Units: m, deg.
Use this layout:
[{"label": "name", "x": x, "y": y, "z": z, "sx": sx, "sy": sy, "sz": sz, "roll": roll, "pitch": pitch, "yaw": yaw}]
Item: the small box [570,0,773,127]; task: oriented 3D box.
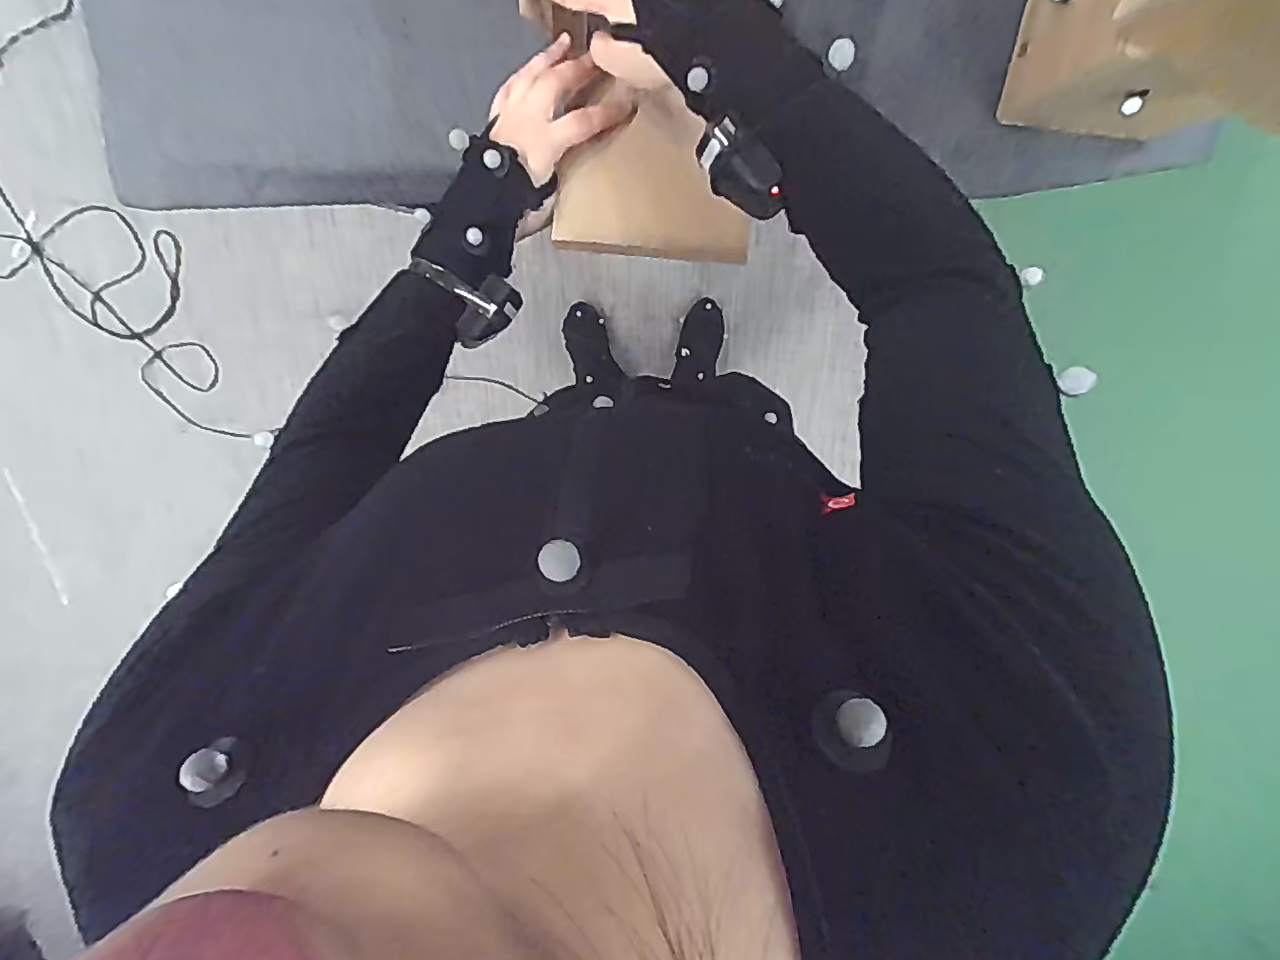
[{"label": "small box", "x": 0.034, "y": -0.446, "z": 0.495, "sx": 0.168, "sy": 0.176, "sz": 0.179, "roll": 4, "pitch": 109, "yaw": 2}]

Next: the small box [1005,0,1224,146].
[{"label": "small box", "x": 0.477, "y": -0.421, "z": 0.485, "sx": 0.179, "sy": 0.176, "sz": 0.168, "roll": 7, "pitch": 108, "yaw": 0}]
